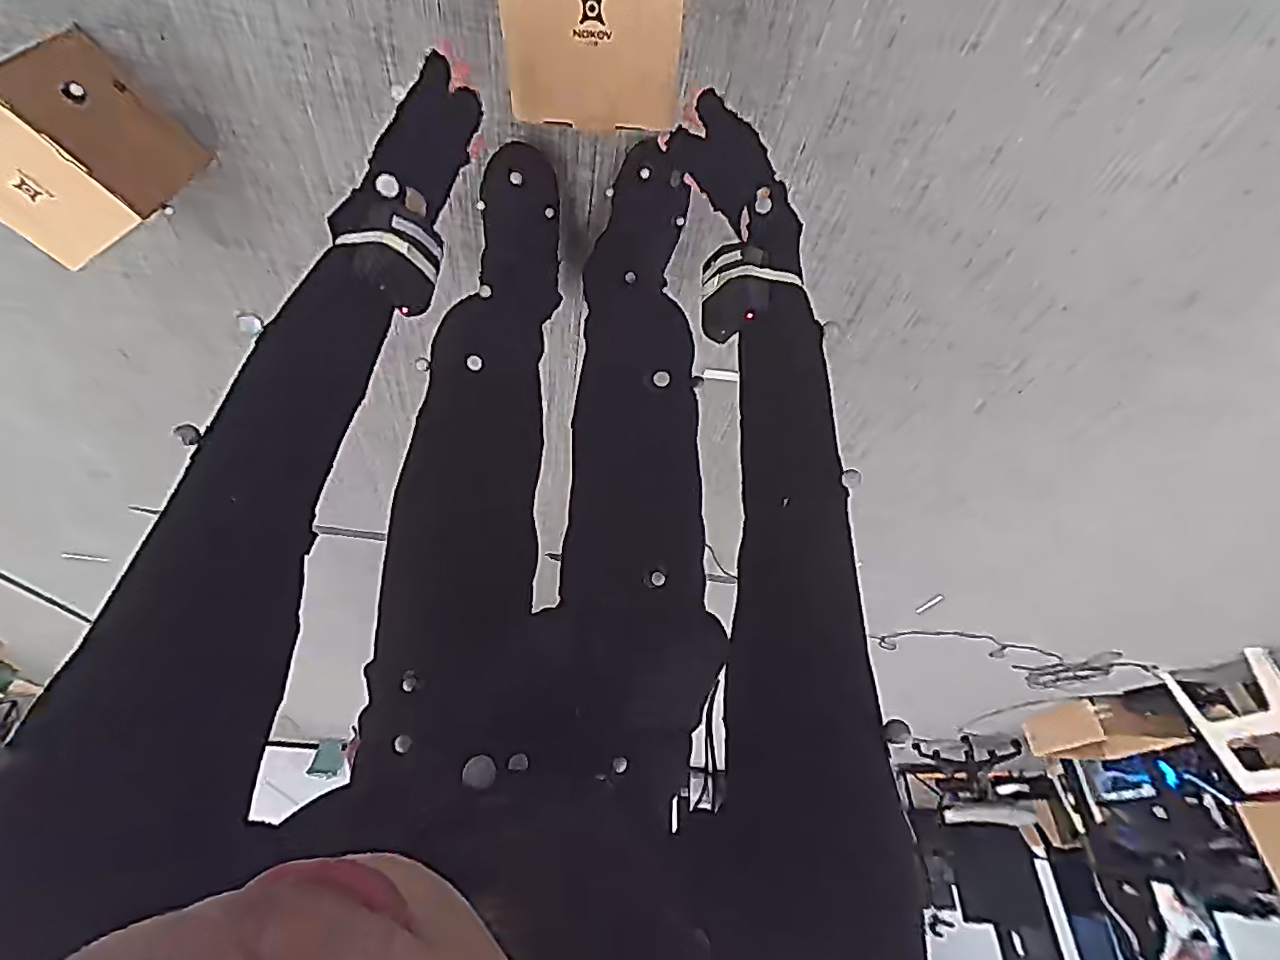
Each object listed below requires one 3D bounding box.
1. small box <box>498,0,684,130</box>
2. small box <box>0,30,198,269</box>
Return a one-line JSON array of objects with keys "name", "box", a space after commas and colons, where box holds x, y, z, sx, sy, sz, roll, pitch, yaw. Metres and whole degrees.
[{"name": "small box", "box": [-0.039, -0.476, 0.522, 0.168, 0.176, 0.179, 3, 145, -1]}, {"name": "small box", "box": [-0.706, -0.406, 0.671, 0.179, 0.176, 0.168, -14, 140, 23]}]
